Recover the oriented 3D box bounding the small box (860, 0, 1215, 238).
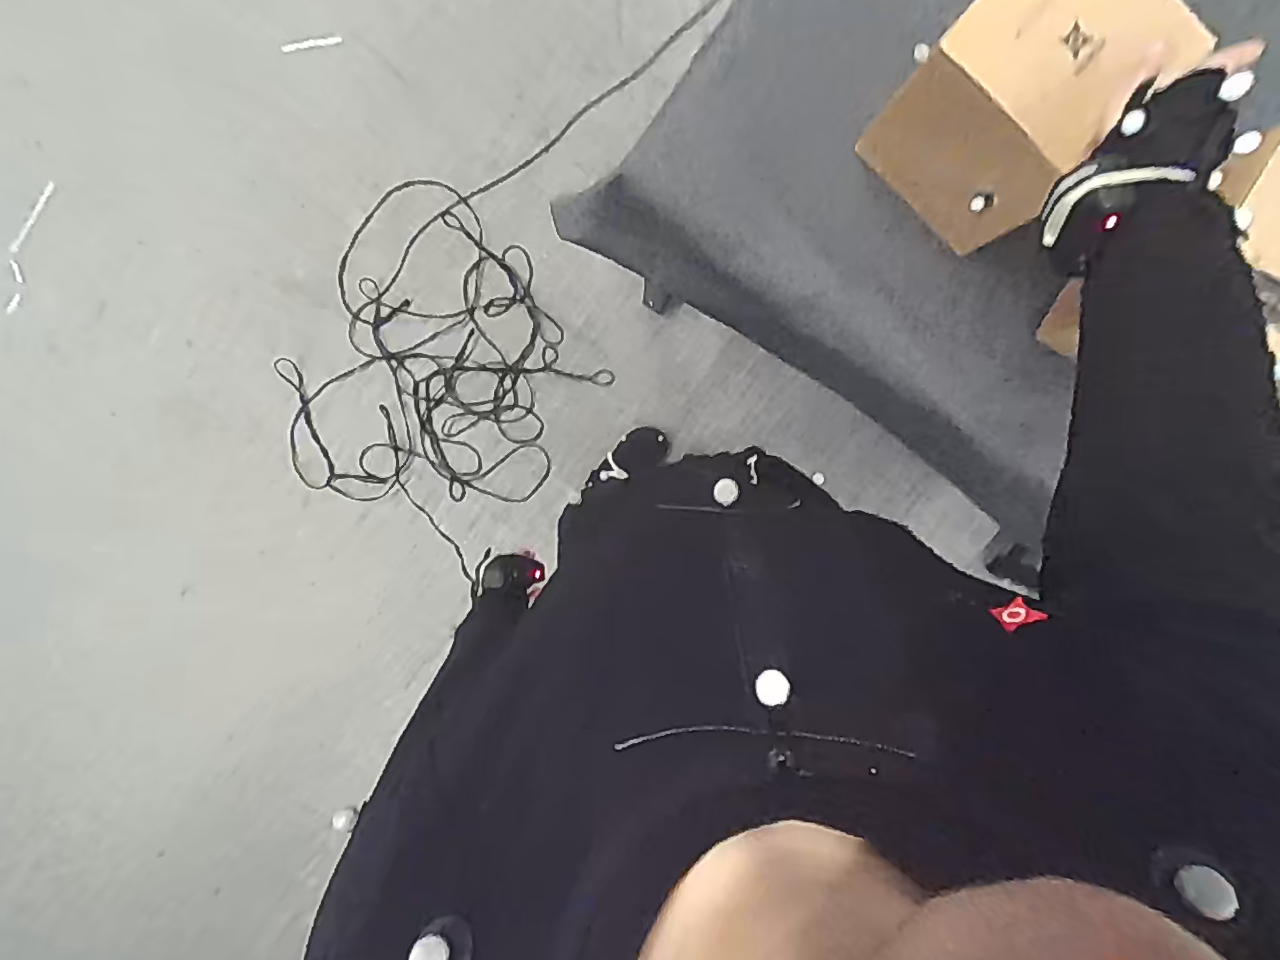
[{"bbox_3d":[0.357,-0.365,0.523,0.179,0.176,0.168,42,92,-4],"label":"small box"}]
